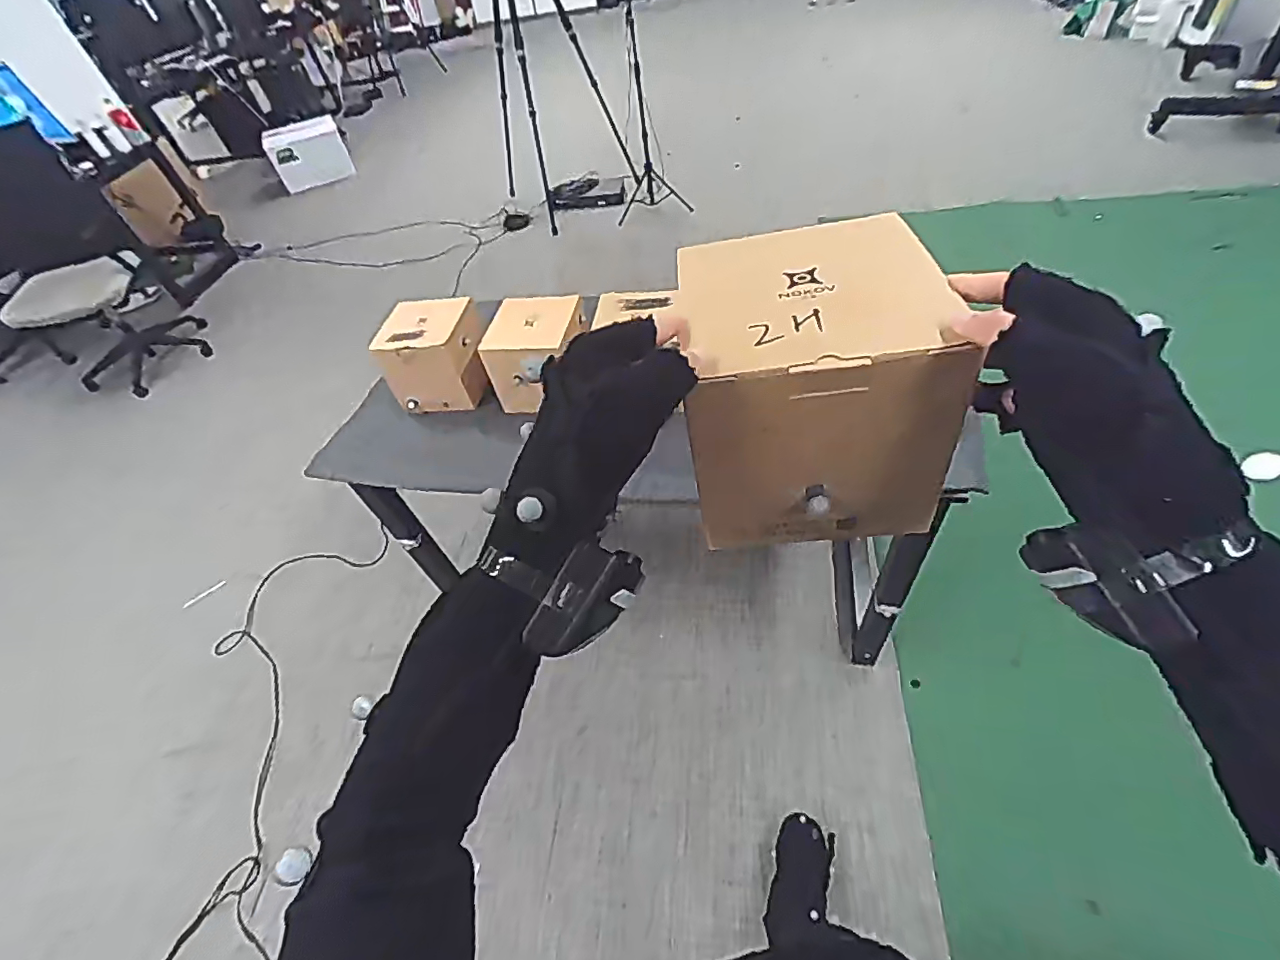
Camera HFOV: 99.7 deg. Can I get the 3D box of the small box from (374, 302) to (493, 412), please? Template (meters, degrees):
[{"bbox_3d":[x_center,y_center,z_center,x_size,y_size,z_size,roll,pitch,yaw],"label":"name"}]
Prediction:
[{"bbox_3d":[-0.428,-0.259,1.165,0.168,0.176,0.179,-1,48,9],"label":"small box"}]

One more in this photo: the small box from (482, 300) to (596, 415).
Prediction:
[{"bbox_3d":[-0.197,-0.248,1.116,0.168,0.176,0.179,1,49,12],"label":"small box"}]

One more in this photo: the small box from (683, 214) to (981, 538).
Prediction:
[{"bbox_3d":[0.124,-0.076,0.419,0.168,0.176,0.179,-6,47,10],"label":"small box"}]
